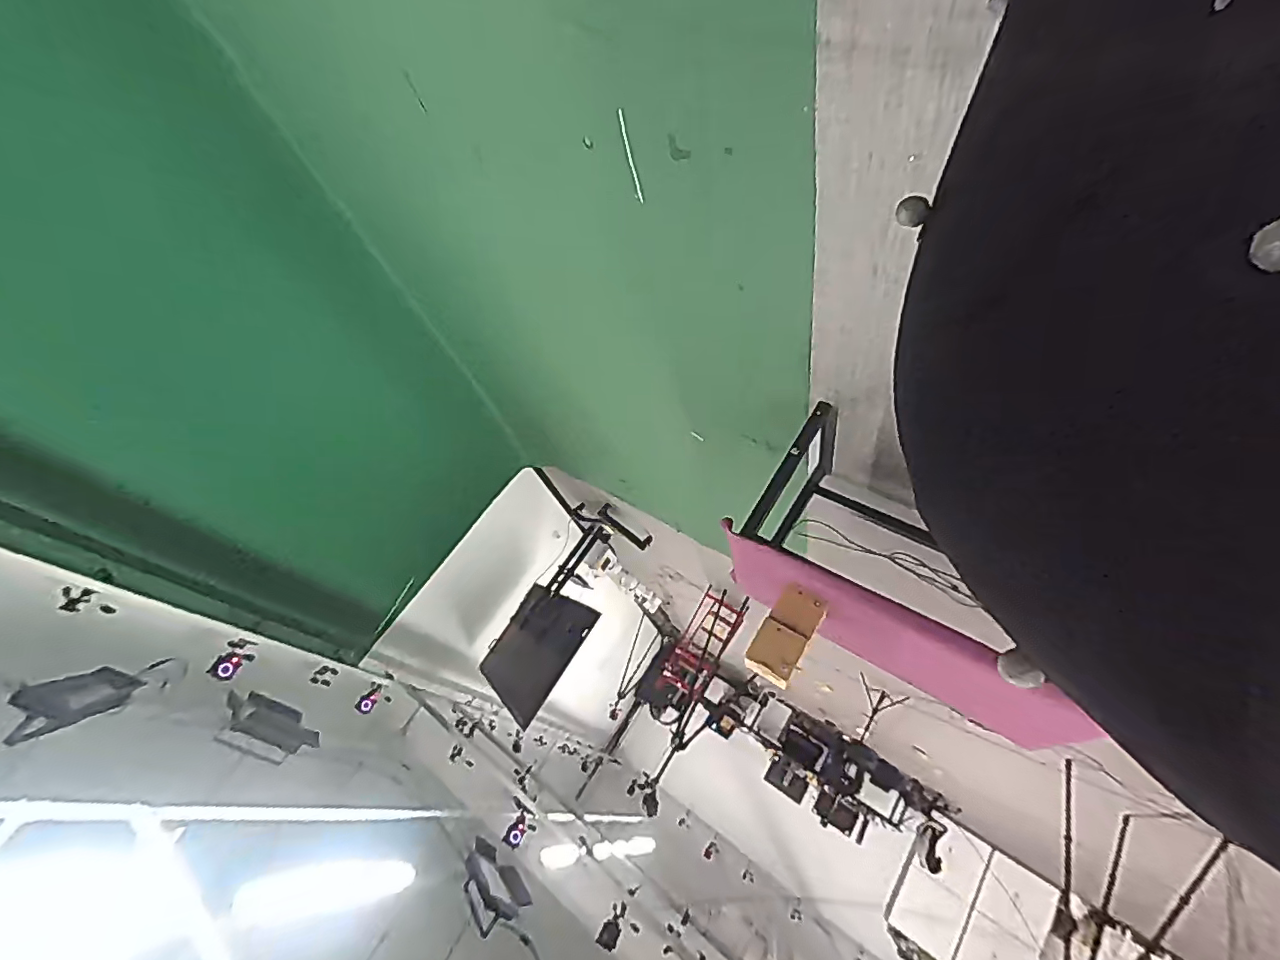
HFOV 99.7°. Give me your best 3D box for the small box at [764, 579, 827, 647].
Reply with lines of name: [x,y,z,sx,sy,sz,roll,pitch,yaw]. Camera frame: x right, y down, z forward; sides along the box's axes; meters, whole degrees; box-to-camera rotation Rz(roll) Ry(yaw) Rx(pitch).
small box: [0.585,0.500,2.038,0.168,0.176,0.179,29,161,23]
